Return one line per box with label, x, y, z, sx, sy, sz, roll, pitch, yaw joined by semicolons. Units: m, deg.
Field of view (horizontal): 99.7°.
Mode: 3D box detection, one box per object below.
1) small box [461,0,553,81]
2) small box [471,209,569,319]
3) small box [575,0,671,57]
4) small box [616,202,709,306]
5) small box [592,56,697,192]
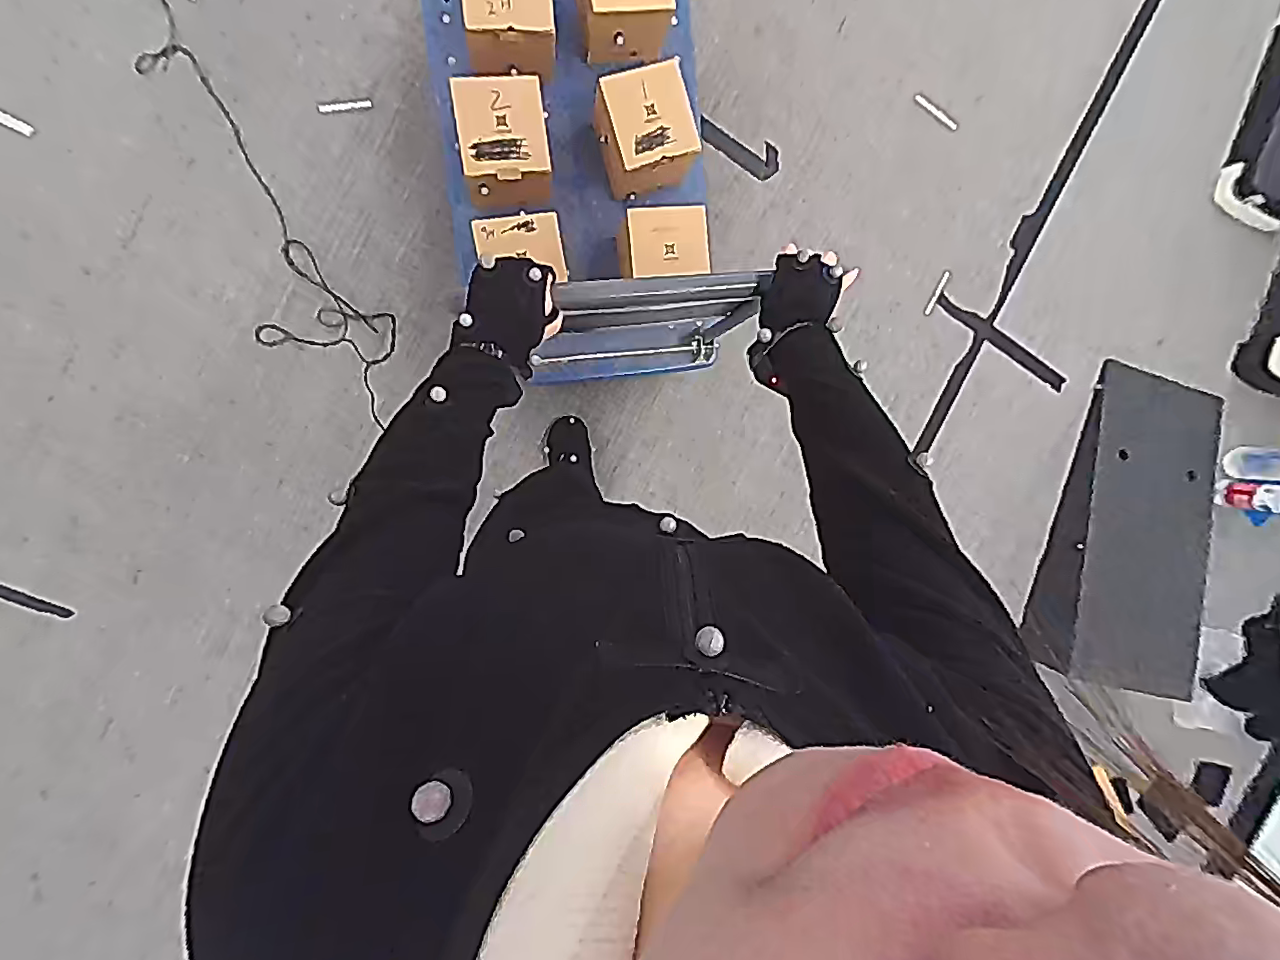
small box;-0.265;-0.937;1.070;0.168;0.176;0.179;-6;99;-9
small box;-0.247;-0.442;1.134;0.168;0.176;0.179;-11;99;-10
small box;-0.042;-1.003;1.104;0.168;0.176;0.179;-10;98;-9
small box;0.044;-0.485;1.184;0.168;0.176;0.179;-7;97;-10
small box;0.004;-0.737;1.145;0.168;0.176;0.179;-19;99;-7
